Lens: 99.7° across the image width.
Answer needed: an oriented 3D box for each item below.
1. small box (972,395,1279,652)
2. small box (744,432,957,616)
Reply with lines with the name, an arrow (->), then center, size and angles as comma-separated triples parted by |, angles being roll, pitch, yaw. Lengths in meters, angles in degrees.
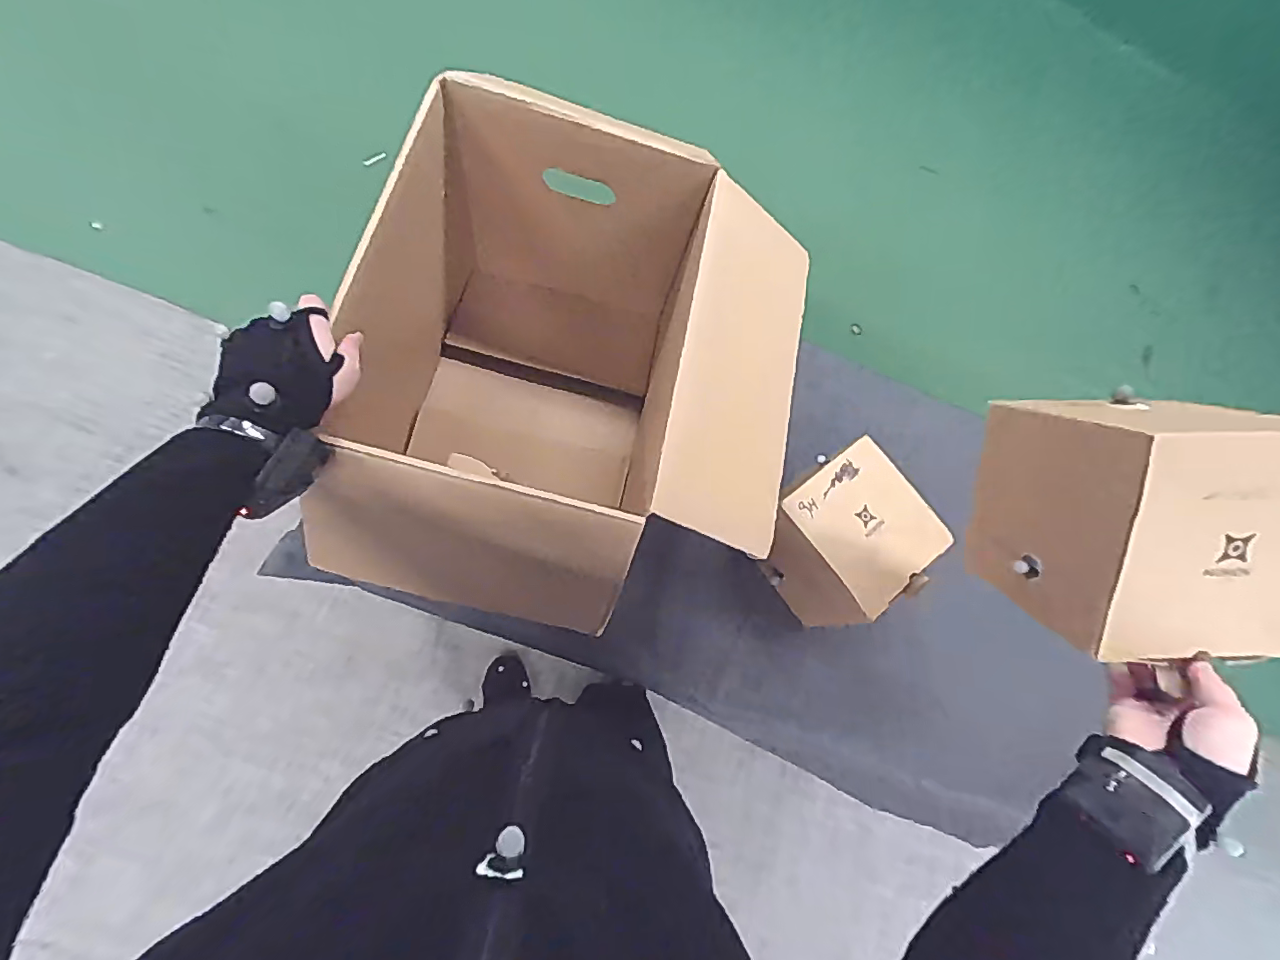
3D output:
small box -> 0.421, 0.025, 0.464 | 0.168, 0.176, 0.179 | -1, 105, -2
small box -> 0.275, 0.067, 0.746 | 0.168, 0.176, 0.179 | -34, 83, -16
